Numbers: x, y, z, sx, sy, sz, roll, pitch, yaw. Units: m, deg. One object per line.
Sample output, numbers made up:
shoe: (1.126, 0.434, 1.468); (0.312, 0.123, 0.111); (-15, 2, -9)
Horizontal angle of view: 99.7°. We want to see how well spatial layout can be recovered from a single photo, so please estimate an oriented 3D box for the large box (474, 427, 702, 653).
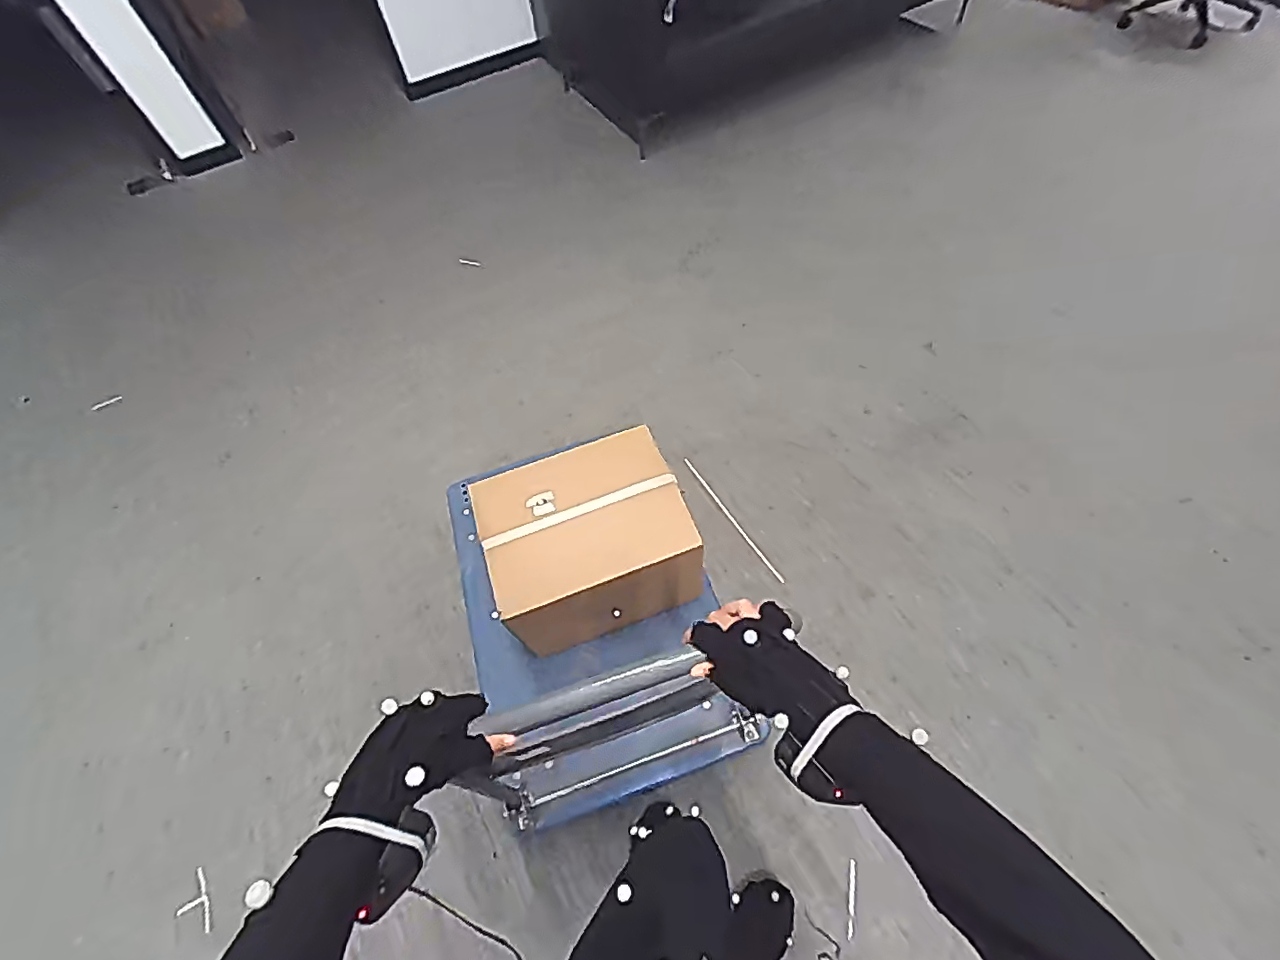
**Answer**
large box: (-0.103, 0.145, 1.225); (0.408, 0.320, 0.320); (-21, 59, -6)
